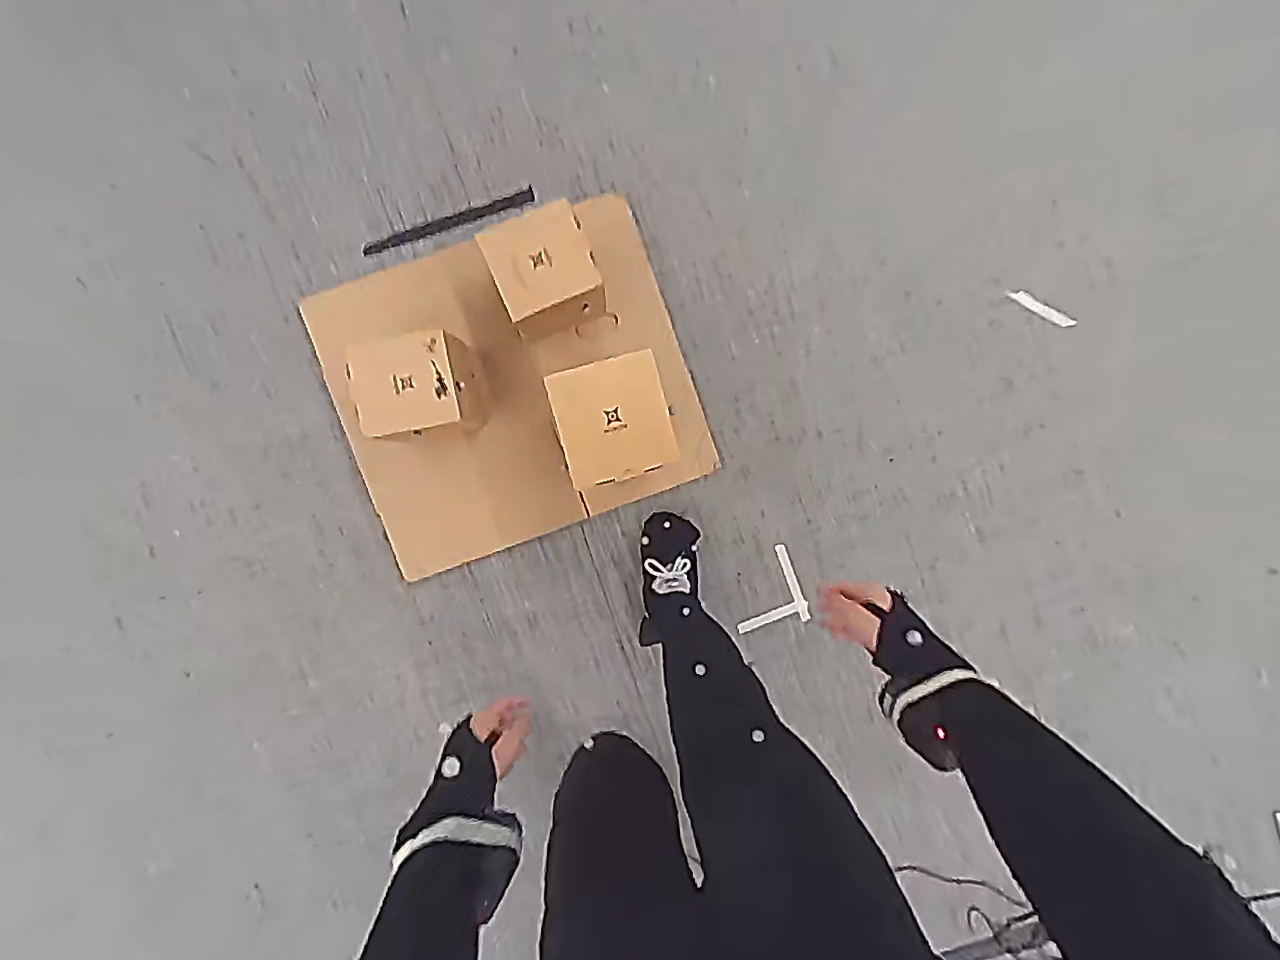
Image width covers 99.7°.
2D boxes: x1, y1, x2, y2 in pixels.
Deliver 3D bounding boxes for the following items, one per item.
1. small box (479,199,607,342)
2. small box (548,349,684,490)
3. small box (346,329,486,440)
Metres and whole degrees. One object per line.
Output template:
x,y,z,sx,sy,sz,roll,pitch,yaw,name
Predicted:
-0.172,-0.381,1.012,0.179,0.176,0.168,-24,92,-1,small box
-0.040,-0.091,0.865,0.168,0.176,0.179,-16,94,-1,small box
-0.407,-0.169,1.008,0.179,0.176,0.168,-10,93,0,small box
